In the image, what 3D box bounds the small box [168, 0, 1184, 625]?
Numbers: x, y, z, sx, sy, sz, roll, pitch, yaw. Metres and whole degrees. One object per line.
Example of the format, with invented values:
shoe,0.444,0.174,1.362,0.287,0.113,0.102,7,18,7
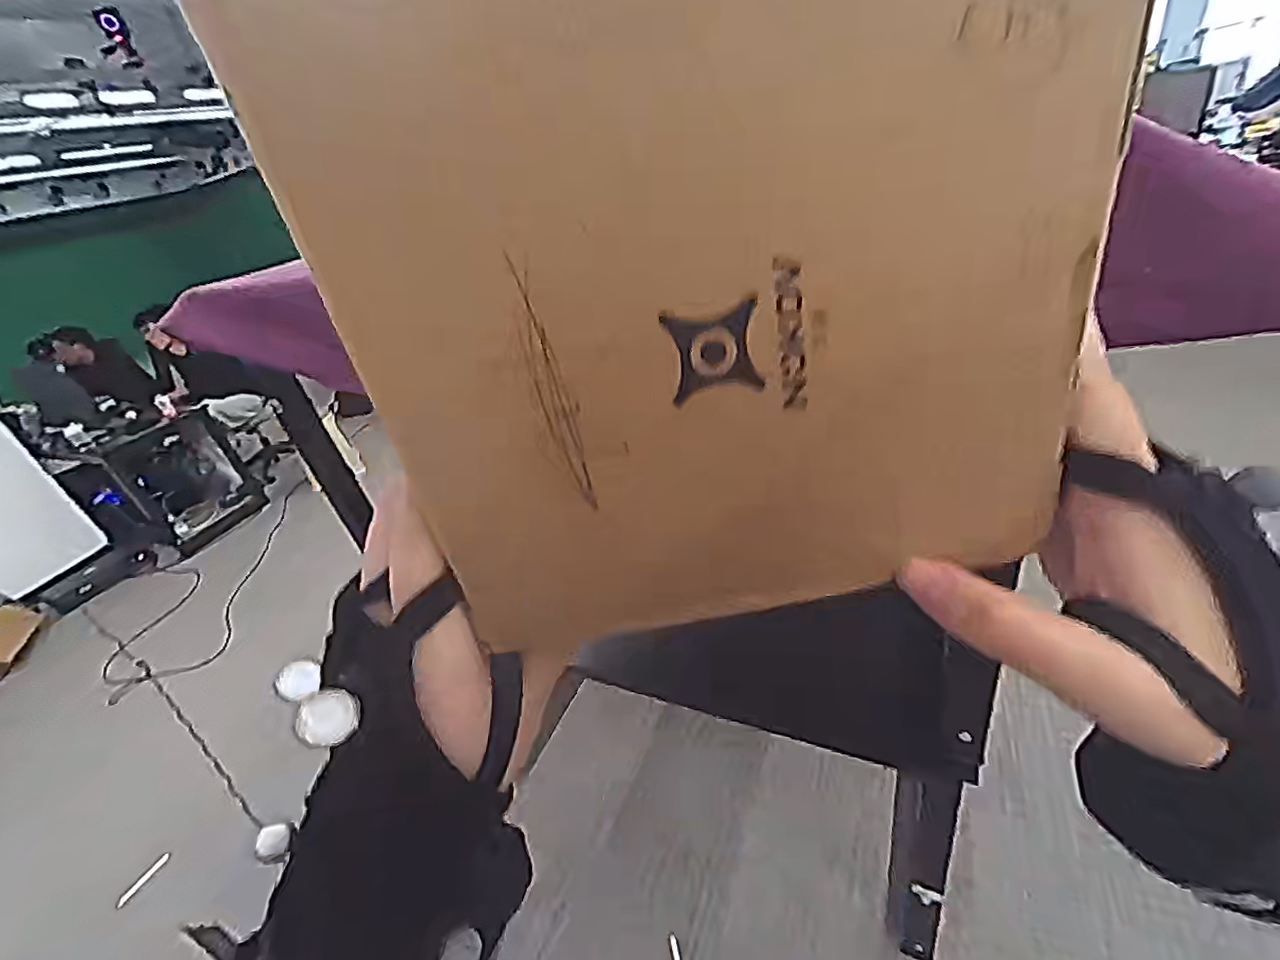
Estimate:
small box,0.015,-0.080,0.187,0.179,0.168,0.176,-10,30,4
